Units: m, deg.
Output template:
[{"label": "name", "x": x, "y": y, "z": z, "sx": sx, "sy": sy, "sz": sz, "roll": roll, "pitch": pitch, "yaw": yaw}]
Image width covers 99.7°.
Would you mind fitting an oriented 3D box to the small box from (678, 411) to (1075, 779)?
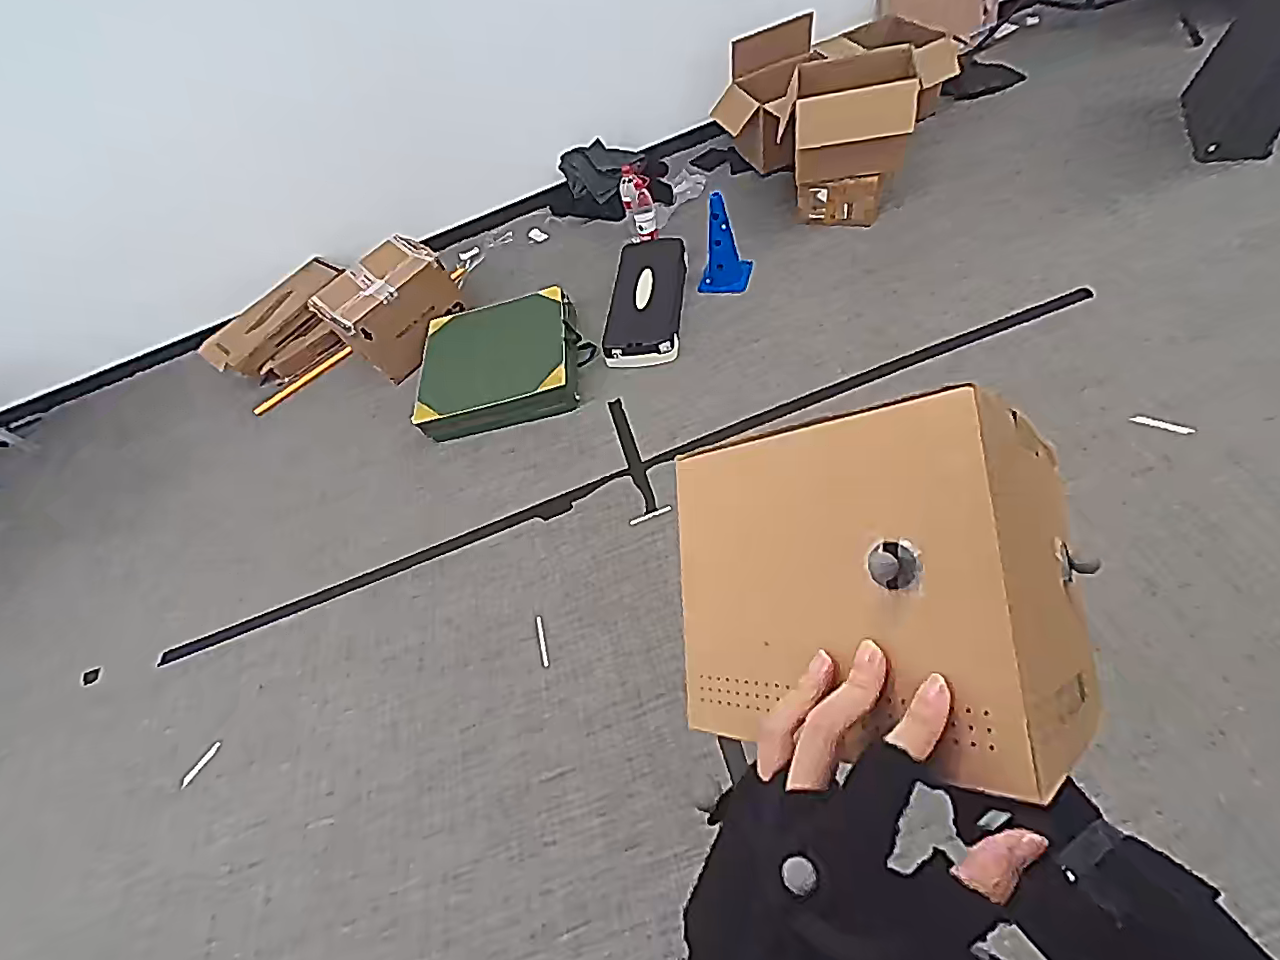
[{"label": "small box", "x": 0.145, "y": 0.070, "z": 0.344, "sx": 0.179, "sy": 0.168, "sz": 0.176, "roll": -14, "pitch": 73, "yaw": 46}]
